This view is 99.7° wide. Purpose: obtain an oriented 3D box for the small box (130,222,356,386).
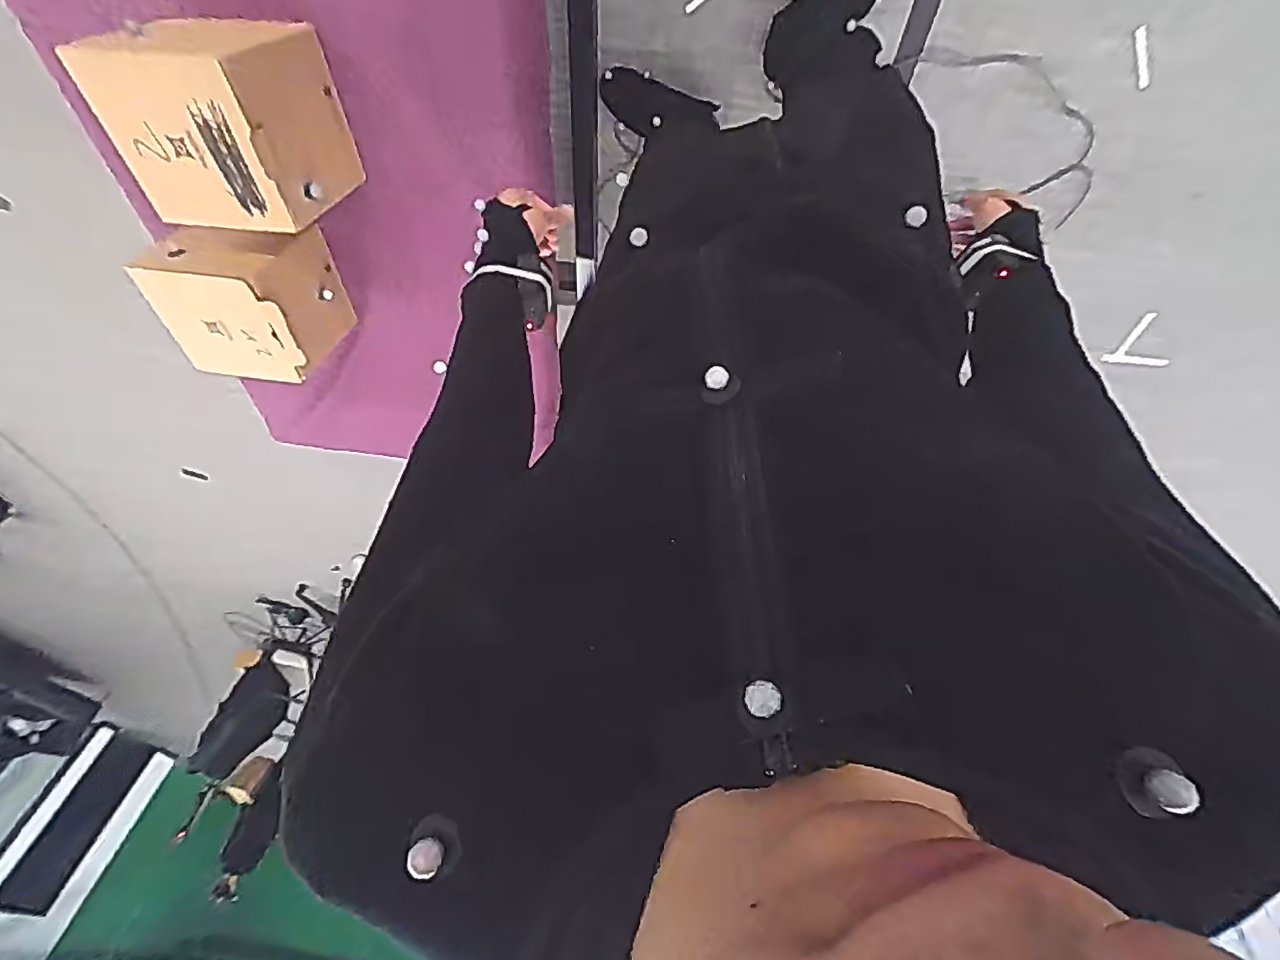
[{"bbox_3d":[-0.566,-0.263,0.802,0.179,0.176,0.168,7,138,4],"label":"small box"}]
